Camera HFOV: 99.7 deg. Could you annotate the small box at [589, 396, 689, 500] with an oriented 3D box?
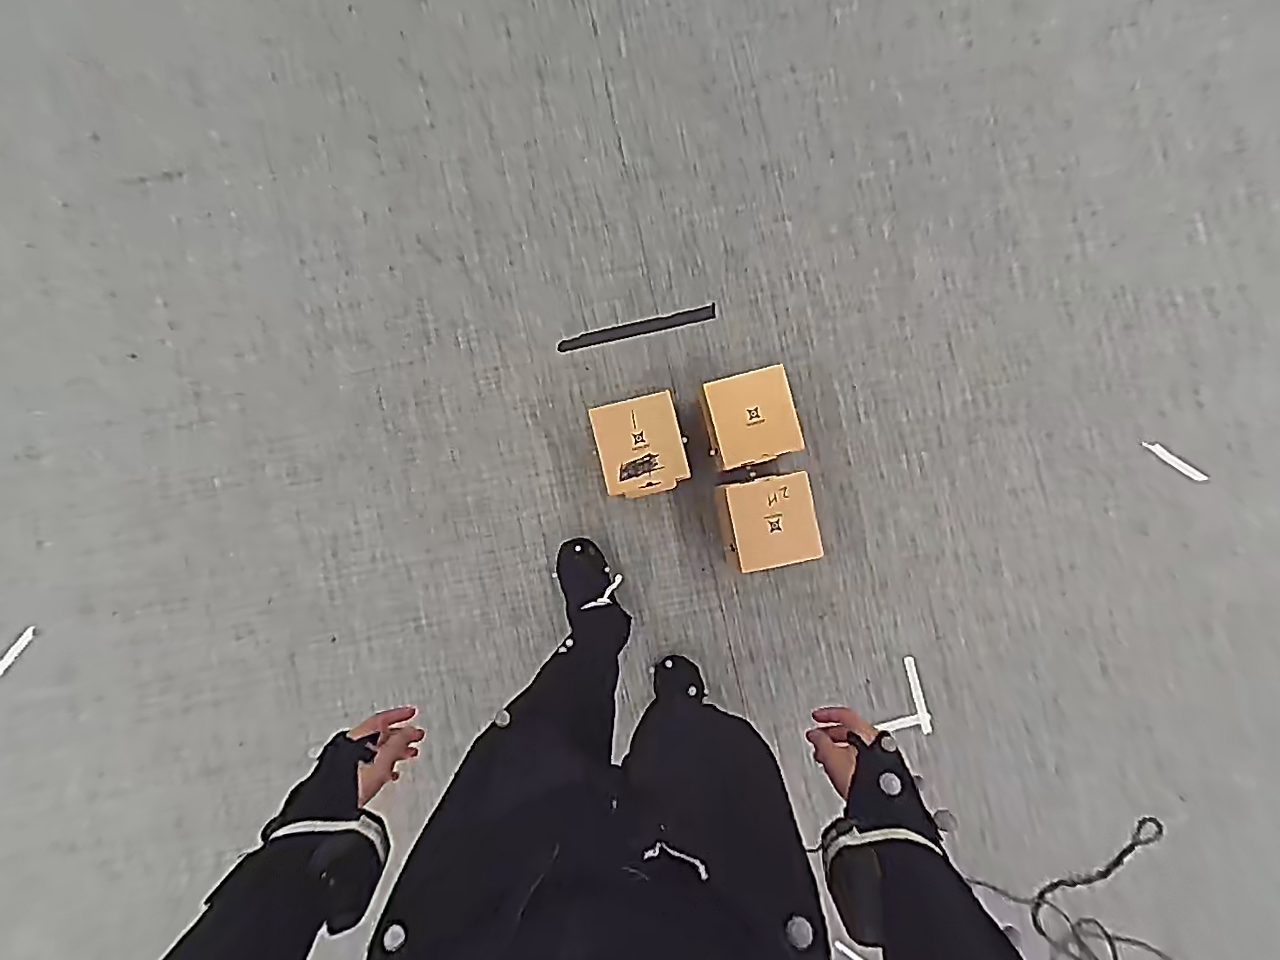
[{"bbox_3d":[-0.001,-0.061,1.125,0.168,0.176,0.179,-14,88,-1],"label":"small box"}]
